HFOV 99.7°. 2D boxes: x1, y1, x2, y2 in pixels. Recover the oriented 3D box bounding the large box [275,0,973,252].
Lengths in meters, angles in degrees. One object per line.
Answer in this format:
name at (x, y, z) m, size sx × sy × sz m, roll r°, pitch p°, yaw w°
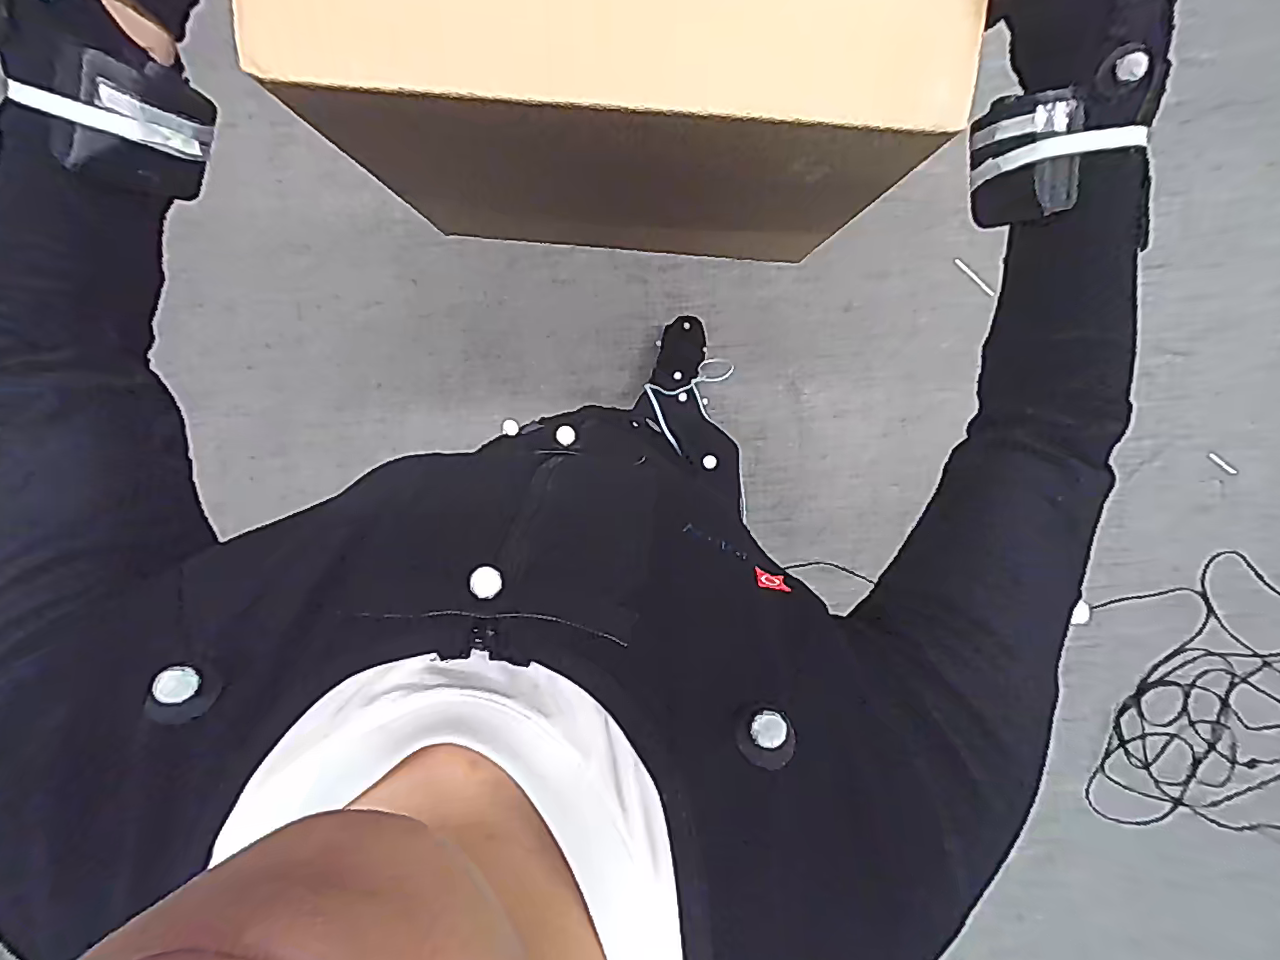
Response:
large box at (-0.004, -0.393, 0.439) m, size 0.408 × 0.320 × 0.320 m, roll 4°, pitch 100°, yaw -1°
